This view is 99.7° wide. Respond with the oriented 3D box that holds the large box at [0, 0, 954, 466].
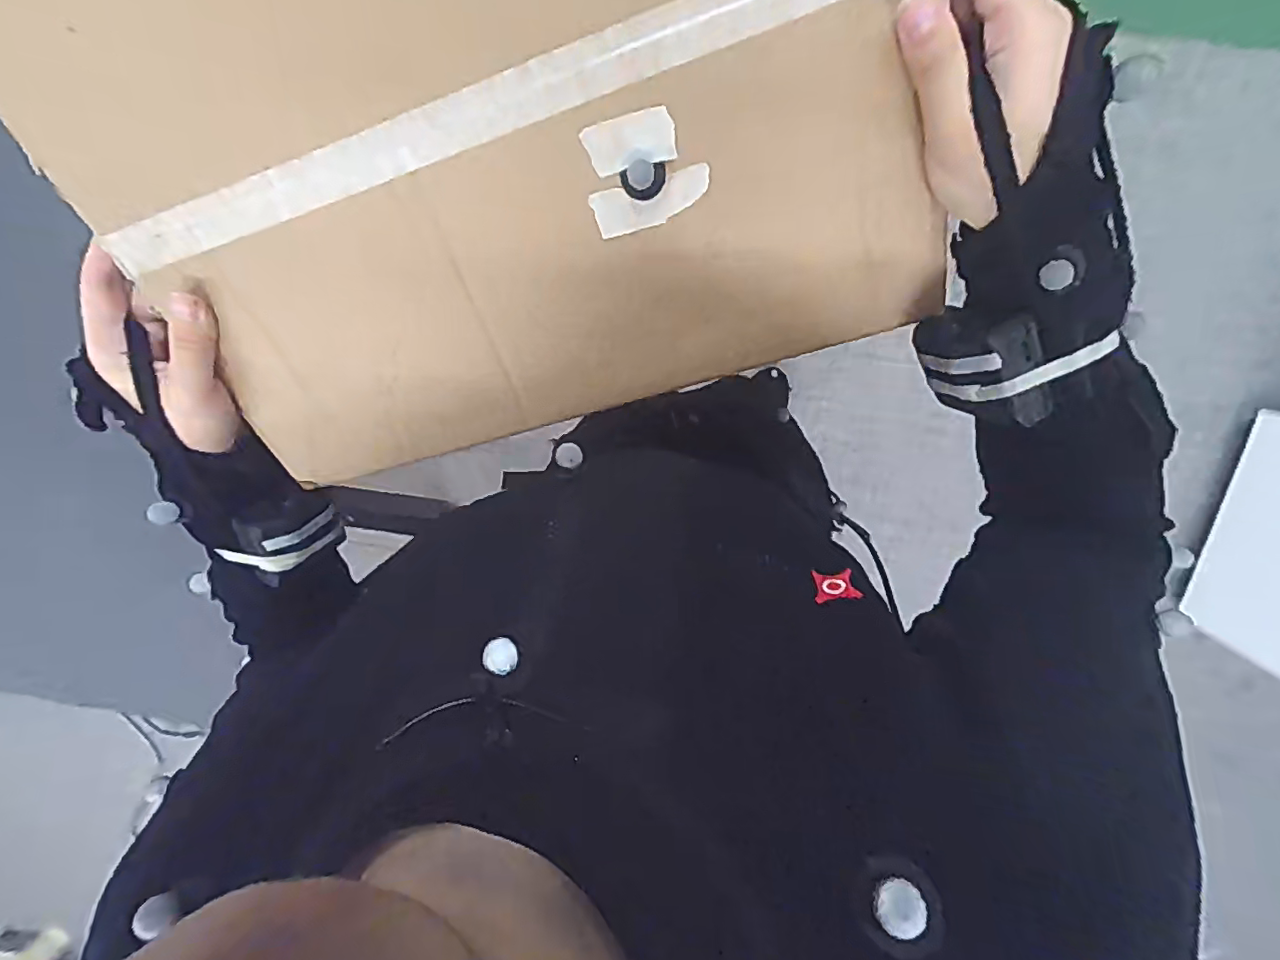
[{"bbox_3d":[-0.063,-0.260,0.377,0.408,0.320,0.320,-15,123,9],"label":"large box"}]
